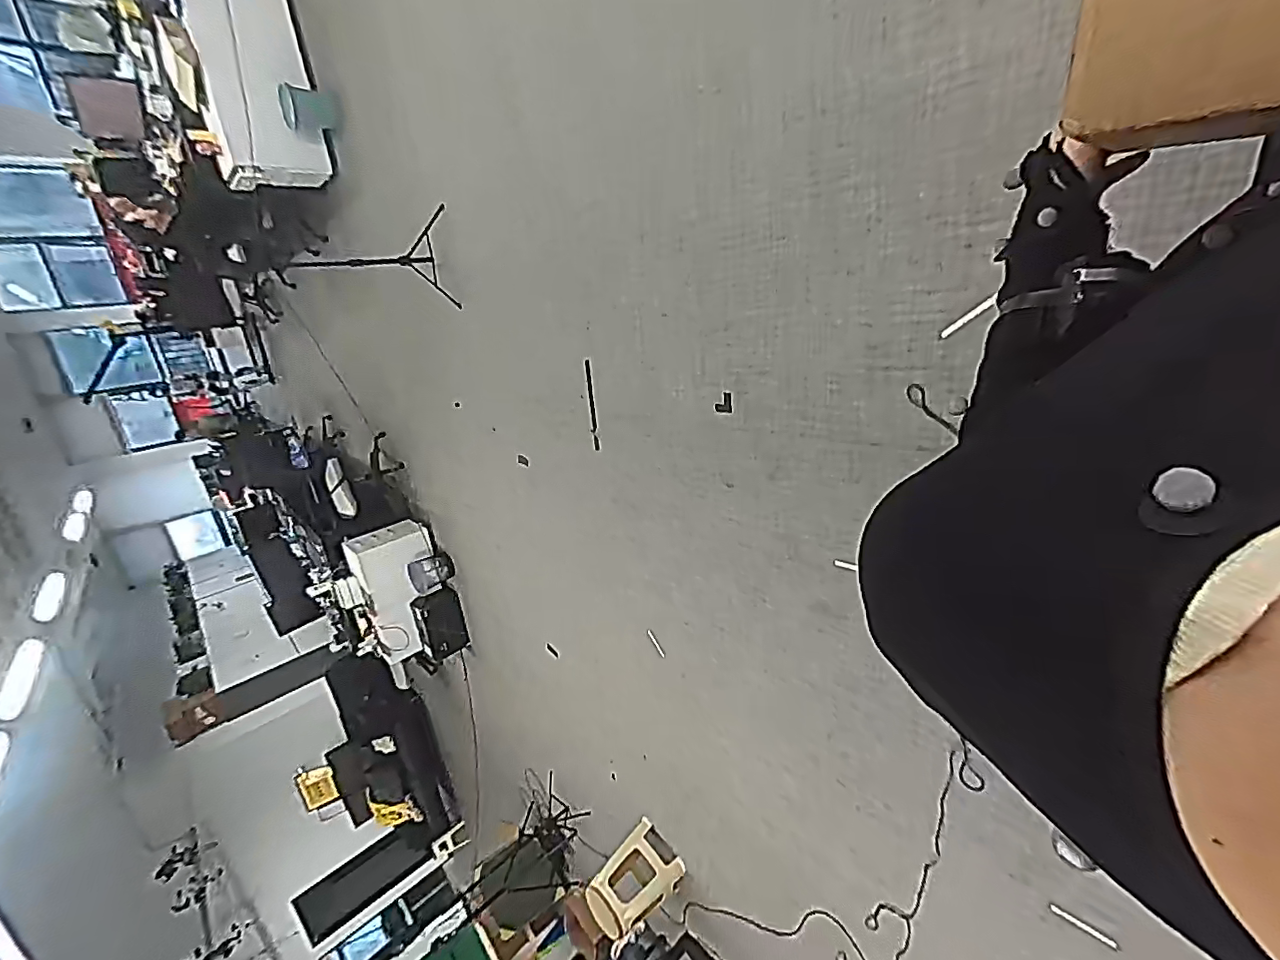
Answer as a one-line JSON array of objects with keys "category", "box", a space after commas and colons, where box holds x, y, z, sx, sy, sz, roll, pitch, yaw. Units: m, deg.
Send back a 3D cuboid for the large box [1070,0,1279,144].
[{"category": "large box", "box": [0.421, -0.325, 0.165, 0.408, 0.320, 0.320, 14, 122, 38]}]
